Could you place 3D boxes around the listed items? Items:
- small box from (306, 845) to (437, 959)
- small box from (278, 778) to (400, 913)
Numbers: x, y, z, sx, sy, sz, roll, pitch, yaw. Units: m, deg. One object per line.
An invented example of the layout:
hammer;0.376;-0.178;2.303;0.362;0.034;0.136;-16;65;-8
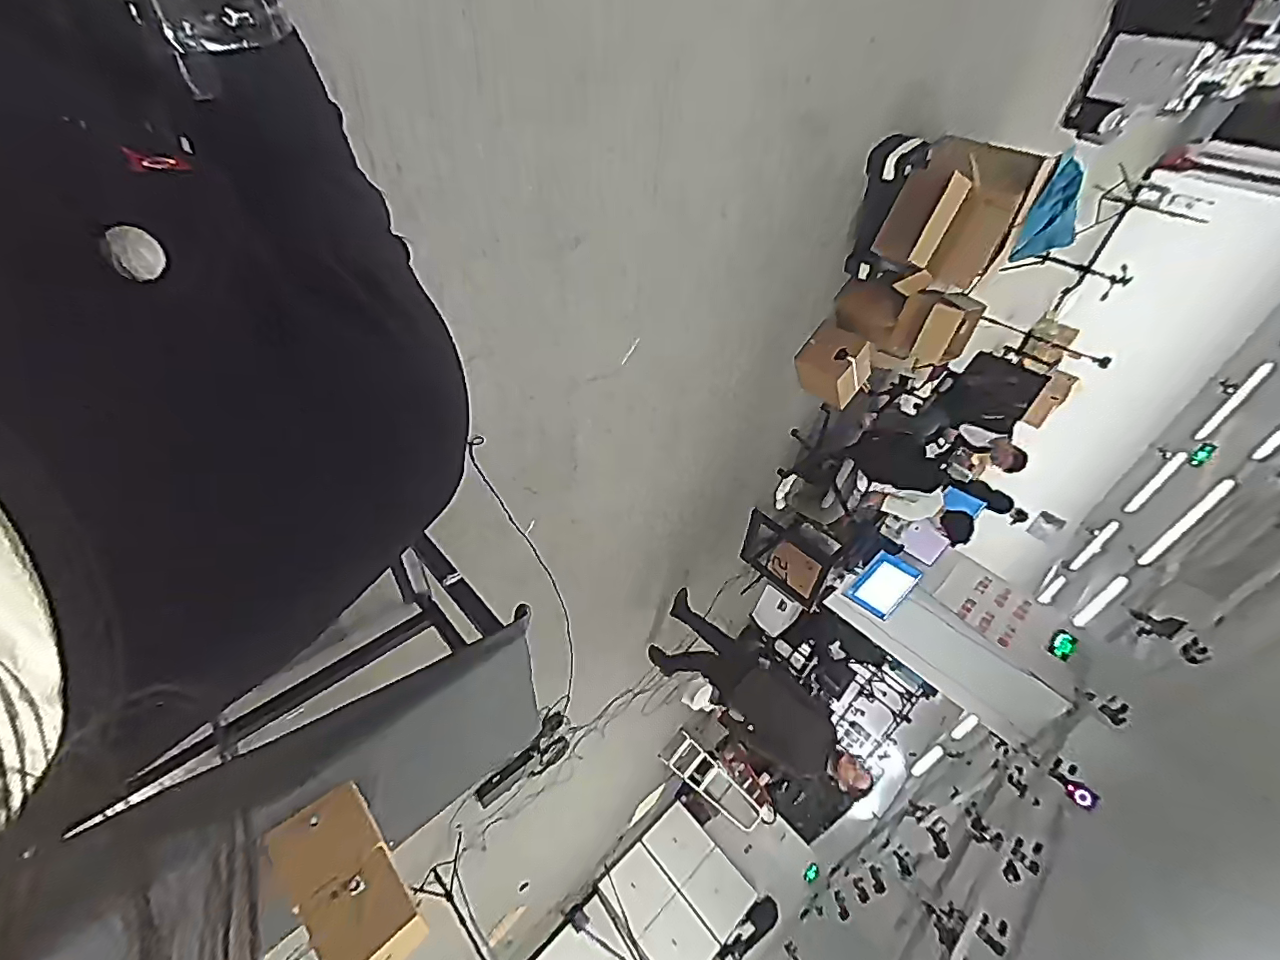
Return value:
small box;-0.543;0.892;1.102;0.168;0.176;0.179;-31;143;-35
small box;-0.655;0.800;1.175;0.179;0.176;0.168;-28;143;-34
